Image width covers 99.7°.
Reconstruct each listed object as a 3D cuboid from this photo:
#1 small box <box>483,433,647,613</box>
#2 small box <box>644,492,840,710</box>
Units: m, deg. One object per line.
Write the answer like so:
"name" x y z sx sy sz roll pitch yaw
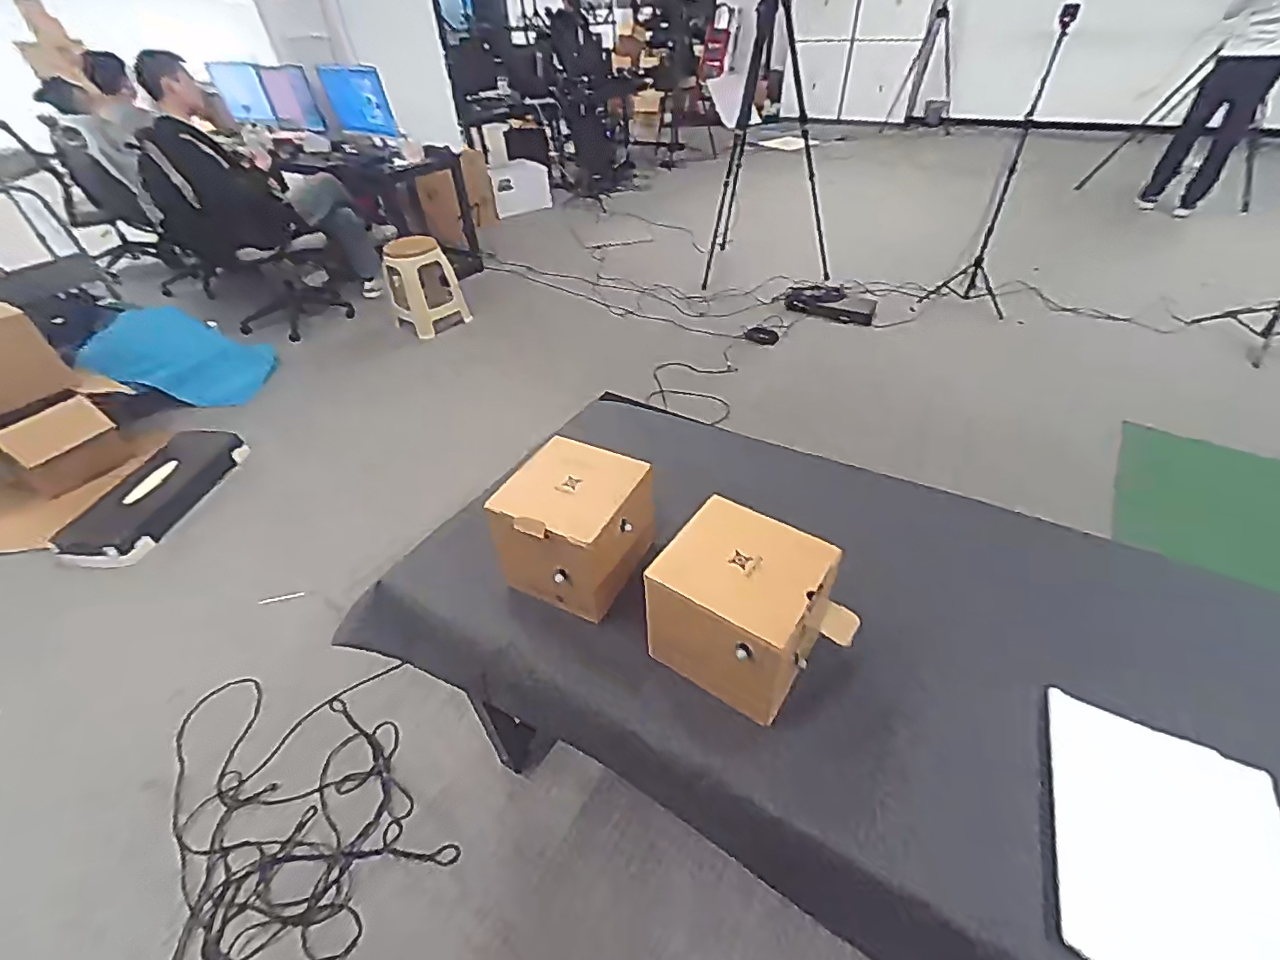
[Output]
"small box" -0.096 0.063 0.790 0.168 0.176 0.179 18 44 20
"small box" 0.121 0.150 0.677 0.179 0.176 0.168 24 47 27
